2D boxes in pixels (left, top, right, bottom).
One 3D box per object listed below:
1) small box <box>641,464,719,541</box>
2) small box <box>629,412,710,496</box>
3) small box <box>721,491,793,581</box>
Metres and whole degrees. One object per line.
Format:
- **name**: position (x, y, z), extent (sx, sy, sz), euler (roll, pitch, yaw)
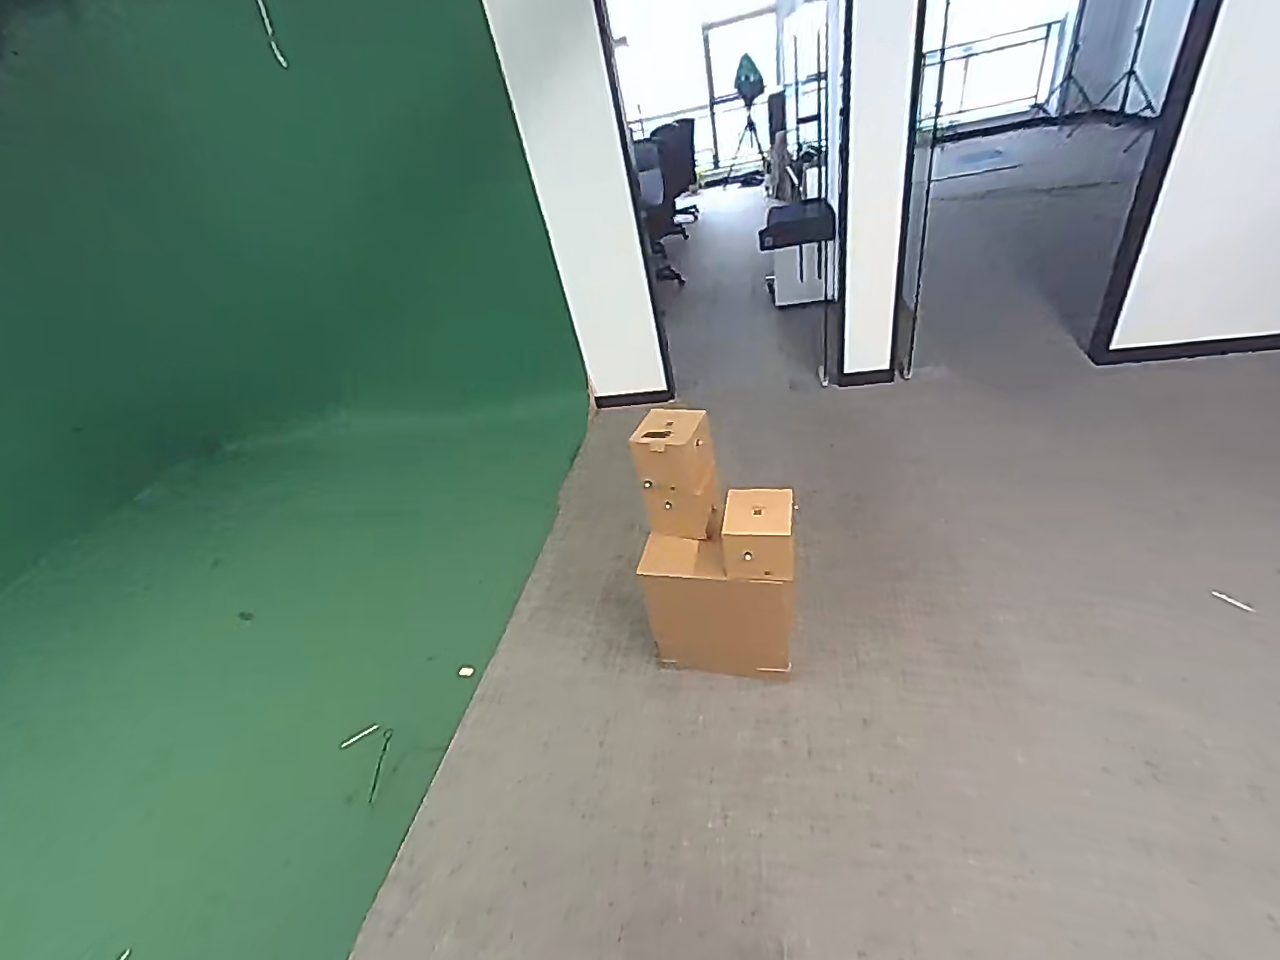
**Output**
- **small box**: position (0.125, 0.061, 1.594), extent (0.179, 0.176, 0.168), euler (5, 39, 23)
- **small box**: position (0.090, -0.072, 1.503), extent (0.168, 0.176, 0.179), euler (5, 38, 25)
- **small box**: position (0.311, 0.147, 1.411), extent (0.168, 0.176, 0.179), euler (-1, 37, 17)
